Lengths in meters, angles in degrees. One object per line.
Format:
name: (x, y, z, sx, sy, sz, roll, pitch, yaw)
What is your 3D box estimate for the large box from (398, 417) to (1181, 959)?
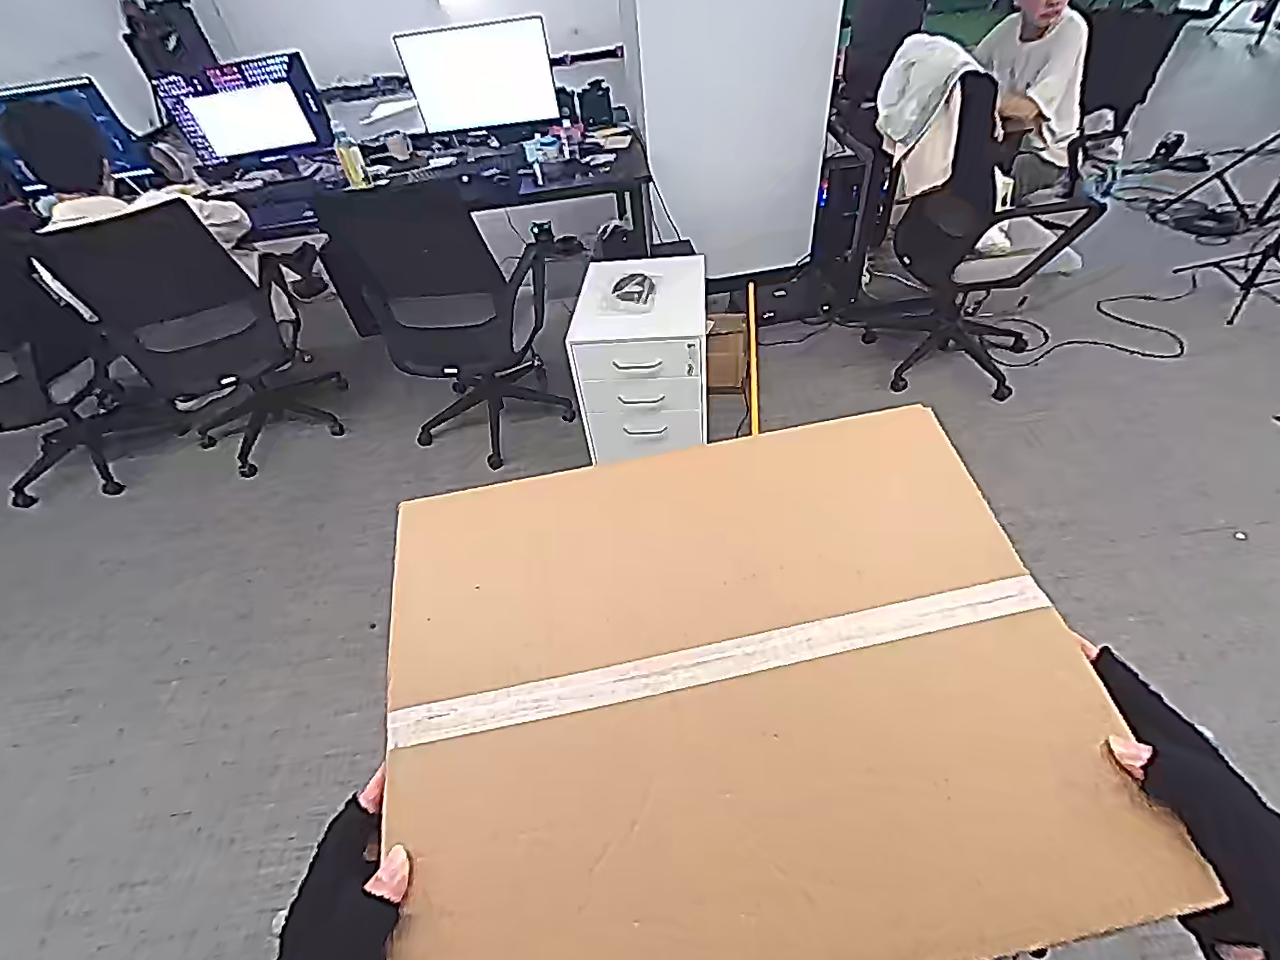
large box: (0.062, 0.193, 0.462, 0.408, 0.320, 0.320, -12, 58, -3)
